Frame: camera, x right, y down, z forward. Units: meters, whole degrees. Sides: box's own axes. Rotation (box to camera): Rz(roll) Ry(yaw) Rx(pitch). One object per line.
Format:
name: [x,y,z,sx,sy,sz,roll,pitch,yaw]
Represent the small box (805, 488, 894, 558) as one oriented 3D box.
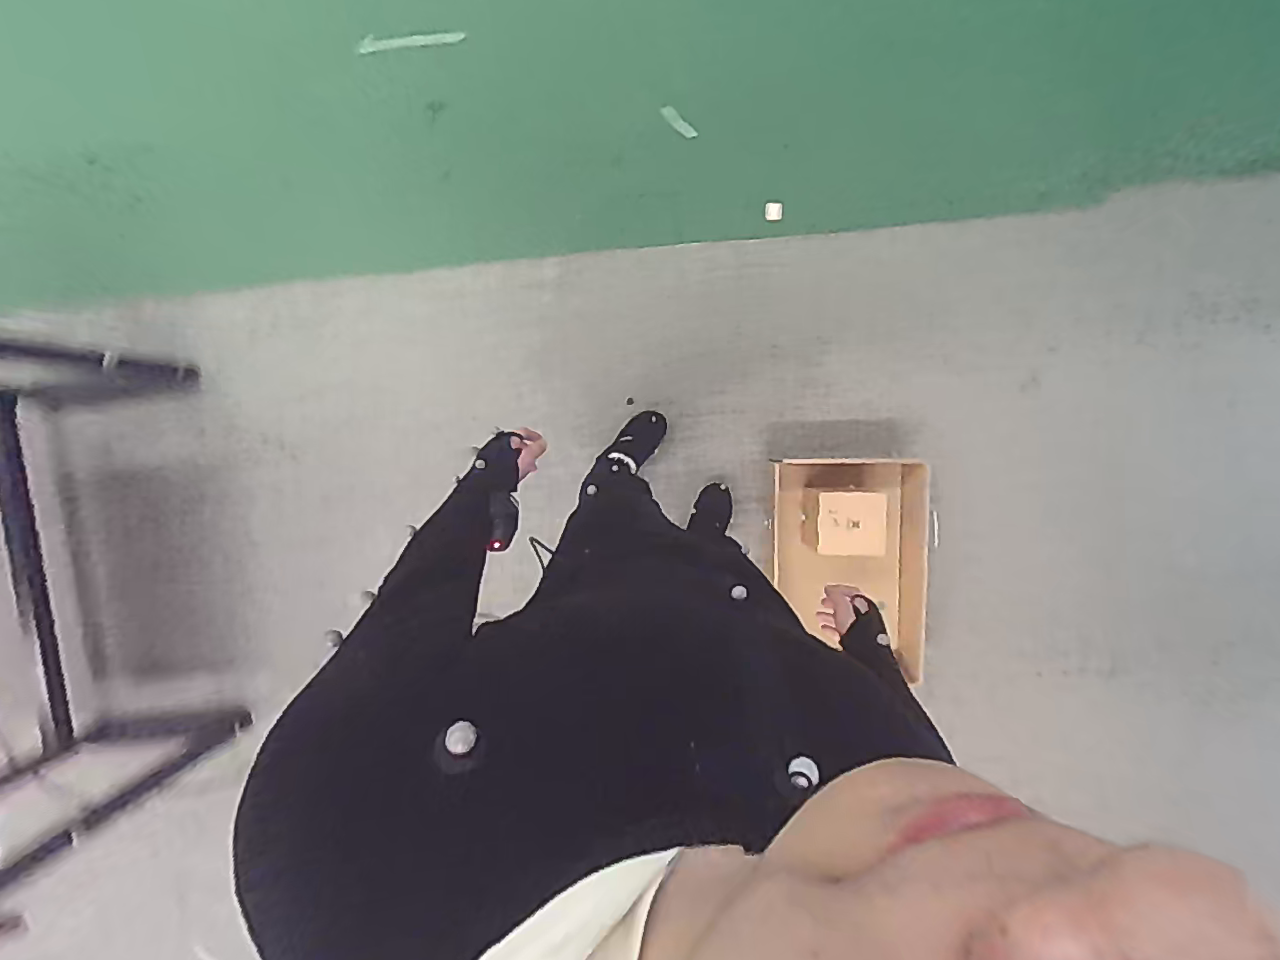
small box: [0.560,0.110,1.459,0.179,0.176,0.168,1,94,3]
